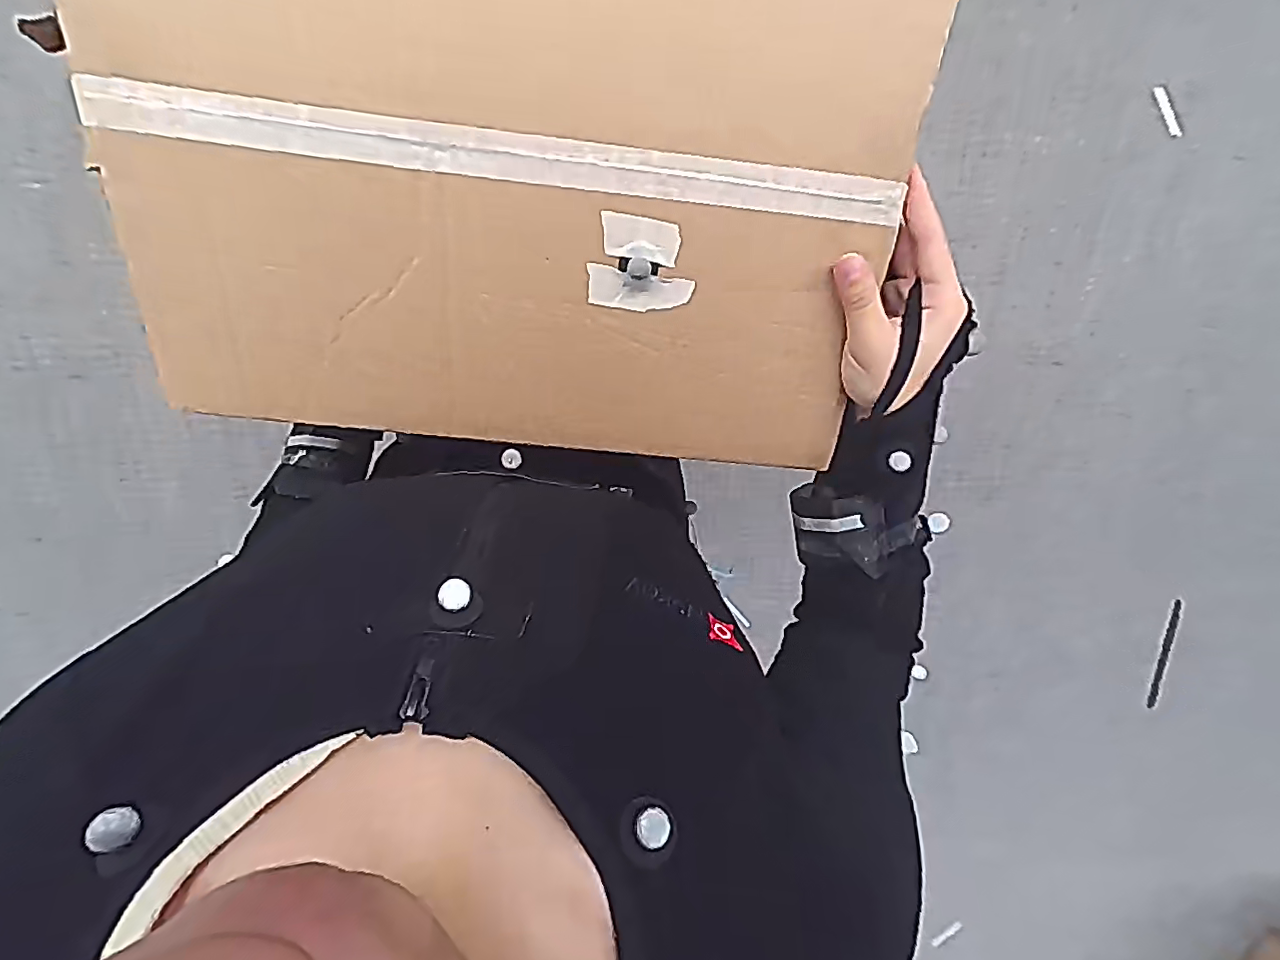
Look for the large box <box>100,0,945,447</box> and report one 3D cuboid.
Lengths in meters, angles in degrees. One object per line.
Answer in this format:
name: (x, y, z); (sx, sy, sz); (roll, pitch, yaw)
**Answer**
large box: (-0.065, -0.232, 0.417); (0.408, 0.320, 0.320); (4, 116, -5)
